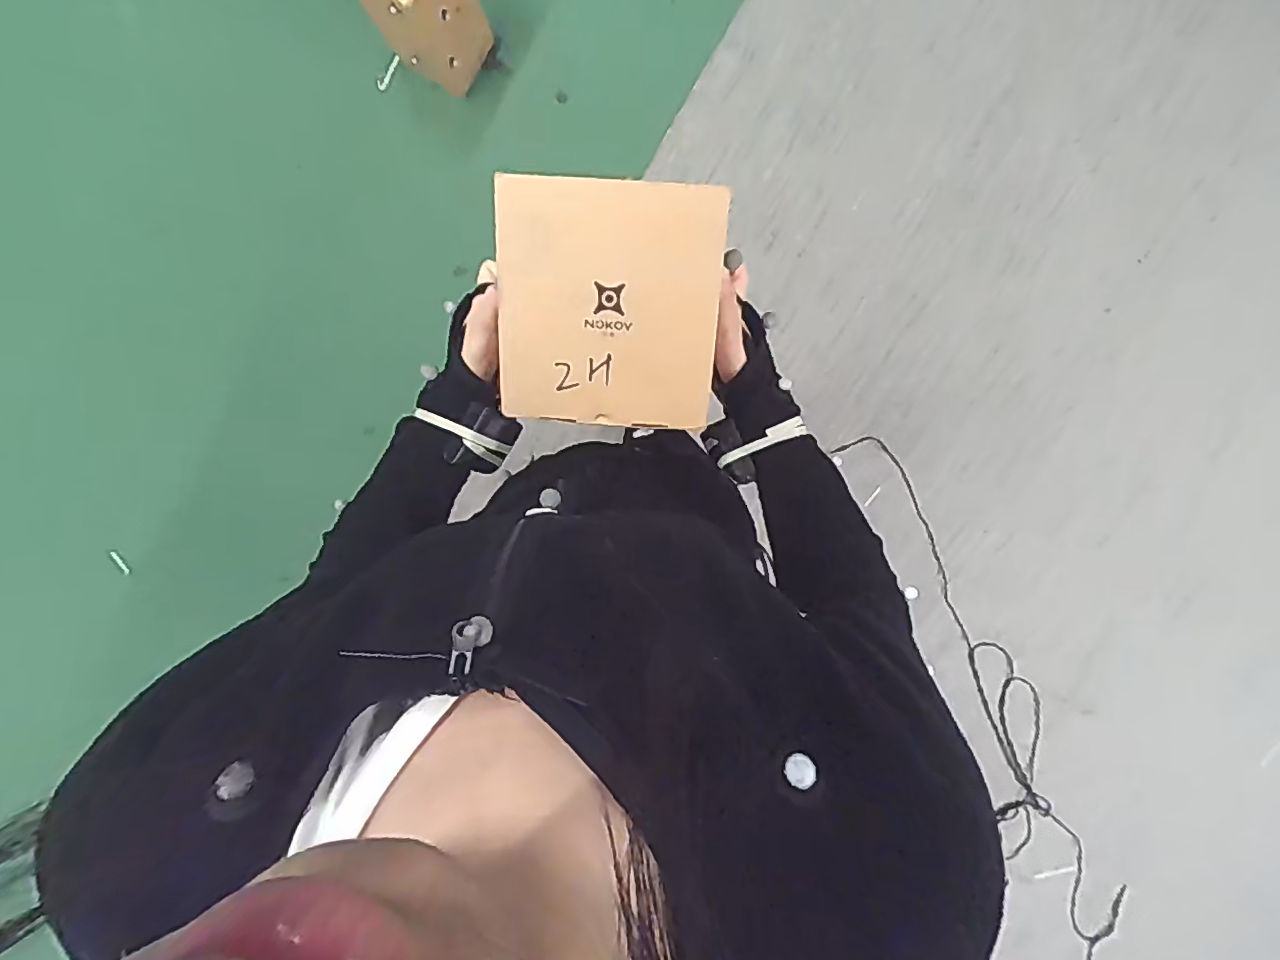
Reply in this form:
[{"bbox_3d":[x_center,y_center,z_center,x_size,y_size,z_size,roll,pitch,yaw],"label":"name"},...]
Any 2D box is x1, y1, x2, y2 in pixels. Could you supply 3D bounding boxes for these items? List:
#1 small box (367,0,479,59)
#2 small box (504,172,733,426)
[{"bbox_3d":[-0.460,-1.016,1.098,0.179,0.176,0.168,32,97,-4],"label":"small box"},{"bbox_3d":[-0.015,-0.157,0.481,0.168,0.176,0.179,4,111,4],"label":"small box"}]
